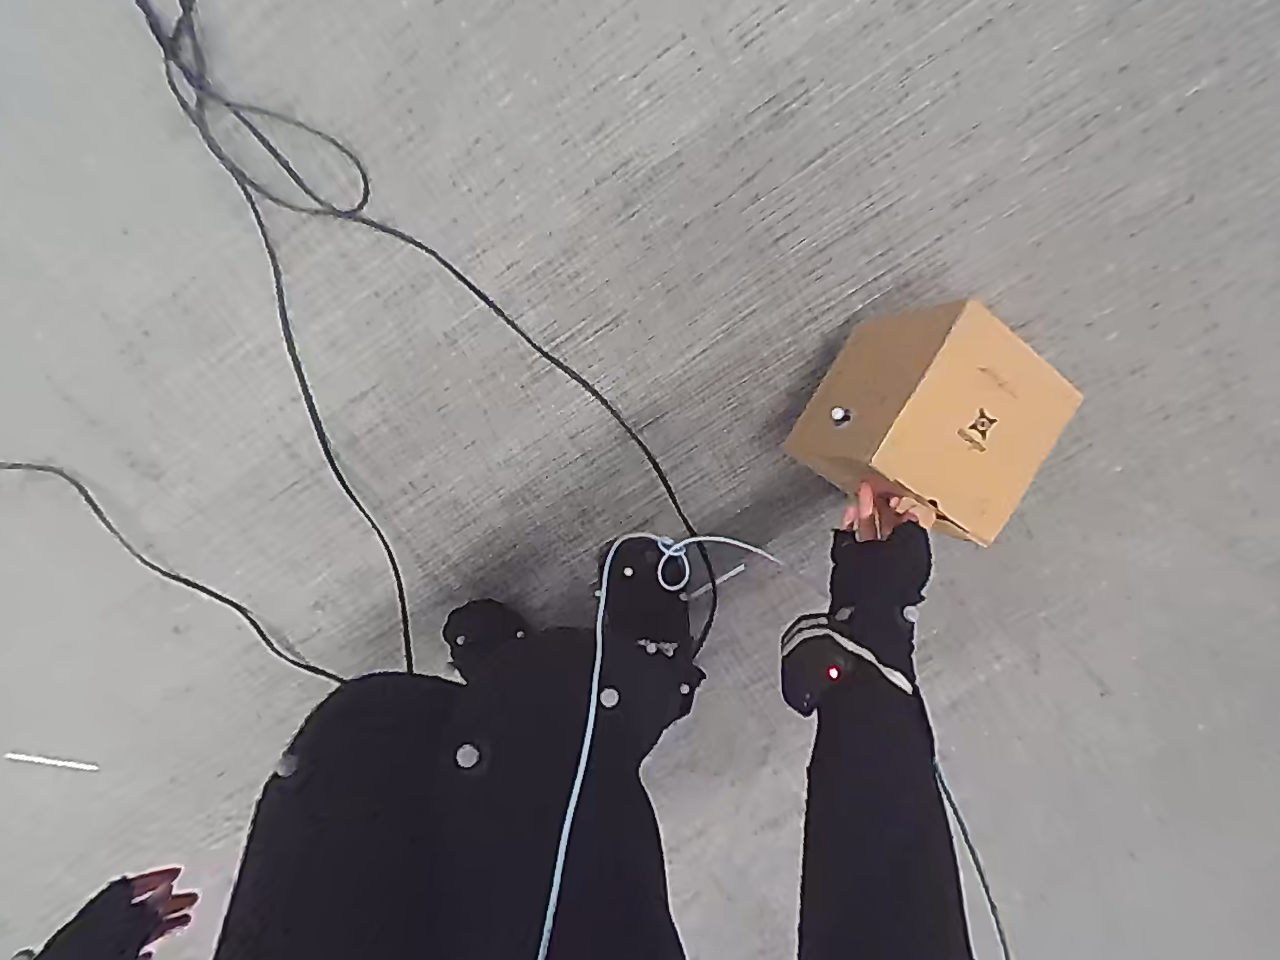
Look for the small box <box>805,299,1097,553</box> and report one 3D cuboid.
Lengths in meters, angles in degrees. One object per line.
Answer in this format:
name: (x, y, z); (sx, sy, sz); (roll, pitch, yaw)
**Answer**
small box: (0.302, -0.055, 0.566); (0.168, 0.176, 0.179); (33, 90, -15)
